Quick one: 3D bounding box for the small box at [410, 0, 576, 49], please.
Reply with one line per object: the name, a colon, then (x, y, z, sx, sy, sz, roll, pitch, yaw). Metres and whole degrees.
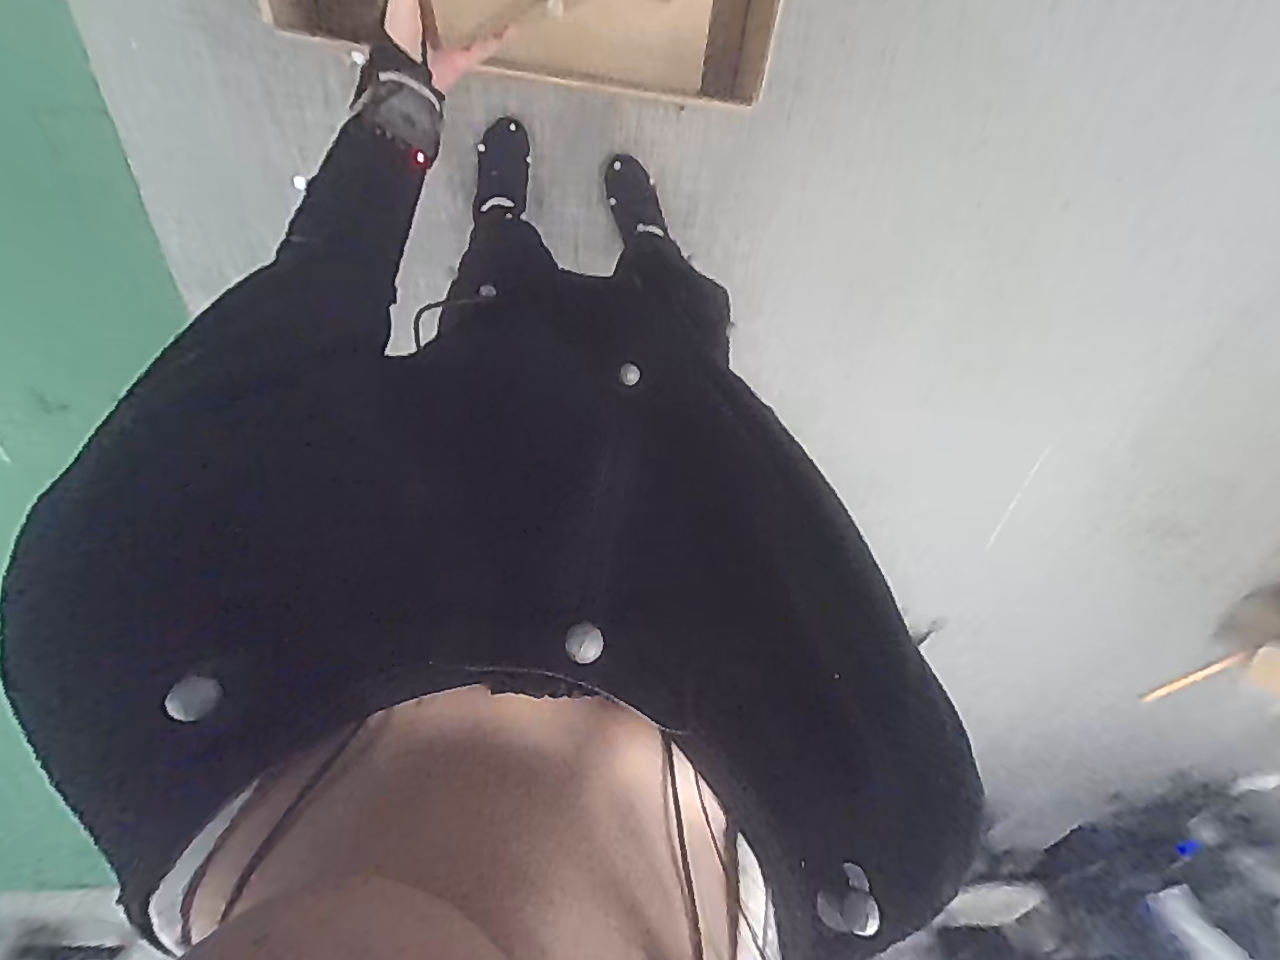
small box: (-0.101, -0.477, 0.416, 0.176, 0.179, 0.168, -42, 129, -26)
